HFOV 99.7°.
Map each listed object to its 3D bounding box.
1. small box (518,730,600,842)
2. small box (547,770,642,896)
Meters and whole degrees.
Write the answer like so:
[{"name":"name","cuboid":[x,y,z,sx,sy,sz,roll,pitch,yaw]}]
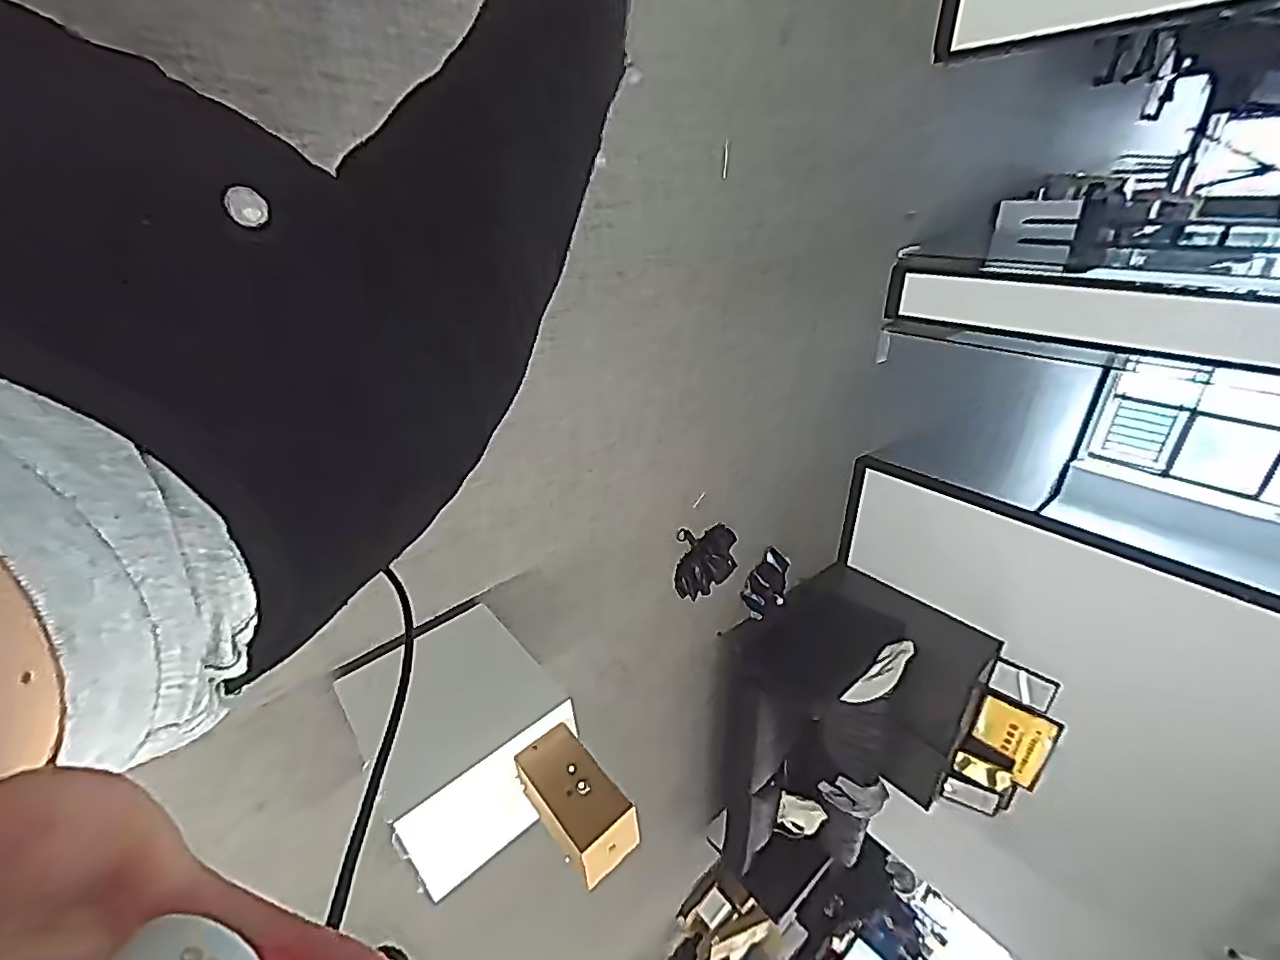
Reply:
[{"name":"small box","cuboid":[-0.218,0.836,1.493,0.168,0.176,0.179,-25,127,-32]},{"name":"small box","cuboid":[-0.116,0.889,1.377,0.168,0.176,0.179,-28,127,-32]}]
